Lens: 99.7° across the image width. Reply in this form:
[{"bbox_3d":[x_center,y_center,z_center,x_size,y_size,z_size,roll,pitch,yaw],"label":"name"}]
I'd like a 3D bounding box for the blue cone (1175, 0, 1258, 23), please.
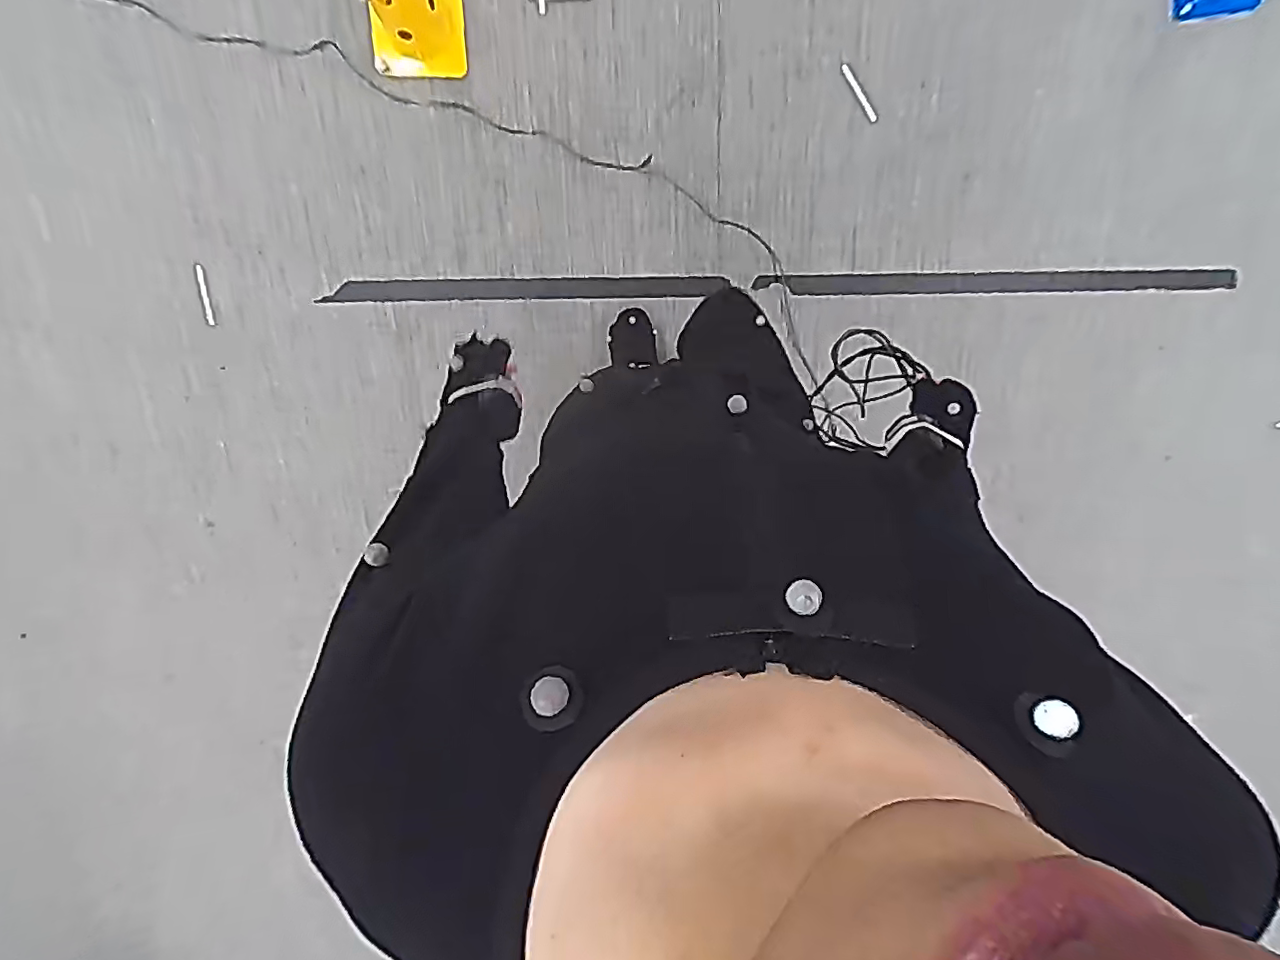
[{"bbox_3d":[1.280,-1.075,1.023,0.193,0.380,0.192,-7,107,0],"label":"blue cone"}]

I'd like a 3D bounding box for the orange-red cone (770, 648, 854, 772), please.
[{"bbox_3d":[0.509,0.658,1.508,0.199,0.360,0.198,-6,107,-1],"label":"orange-red cone"}]
